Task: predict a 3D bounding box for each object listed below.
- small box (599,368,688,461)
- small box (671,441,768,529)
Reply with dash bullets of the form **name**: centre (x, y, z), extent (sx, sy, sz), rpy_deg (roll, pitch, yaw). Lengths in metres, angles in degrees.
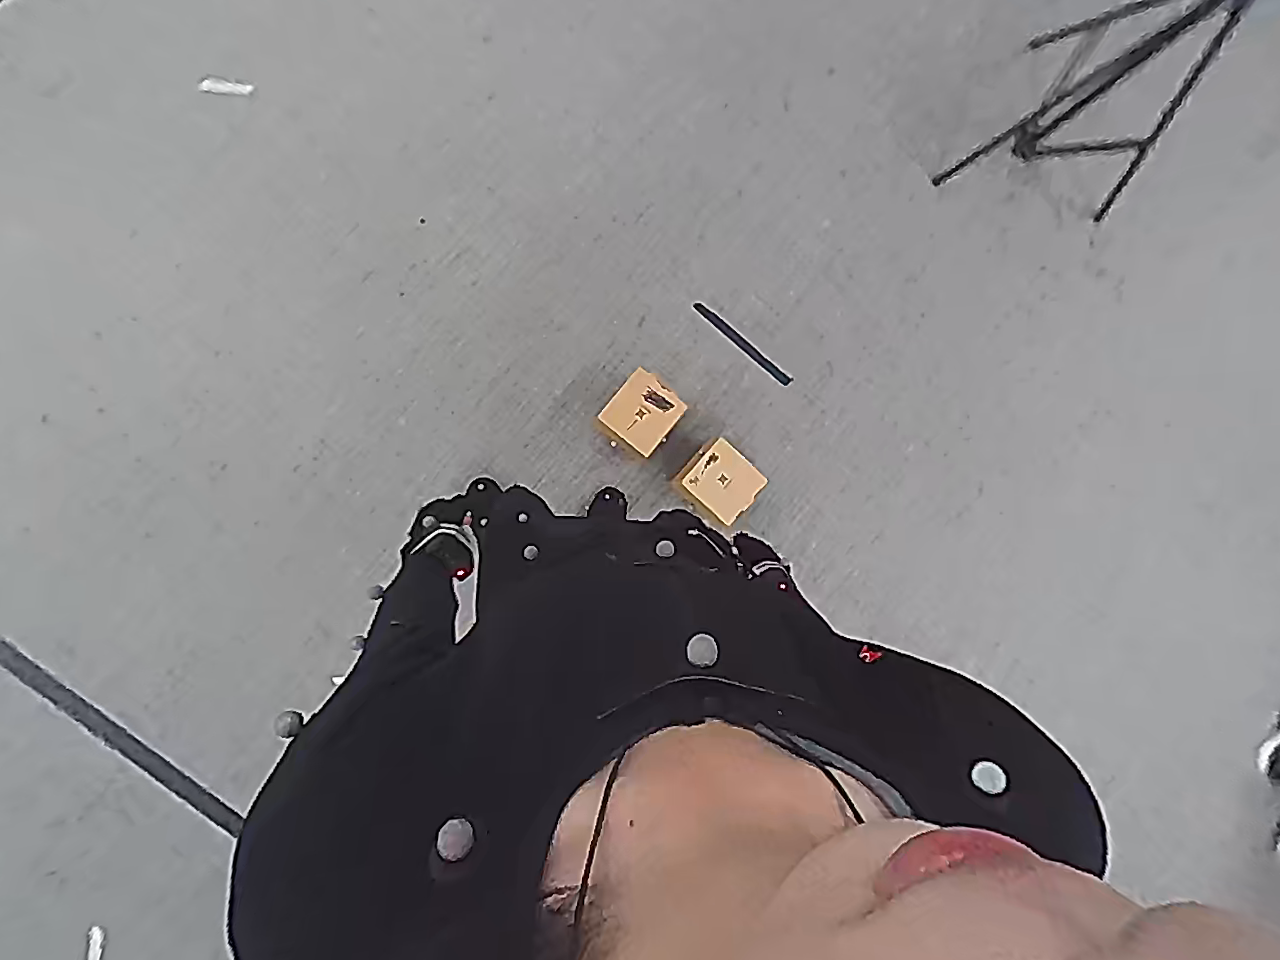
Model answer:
- **small box**: centre (0.000, -0.168, 1.453), extent (0.168, 0.176, 0.179), rpy_deg (40, 84, -4)
- **small box**: centre (0.209, 0.011, 1.478), extent (0.179, 0.176, 0.168), rpy_deg (43, 83, -5)
